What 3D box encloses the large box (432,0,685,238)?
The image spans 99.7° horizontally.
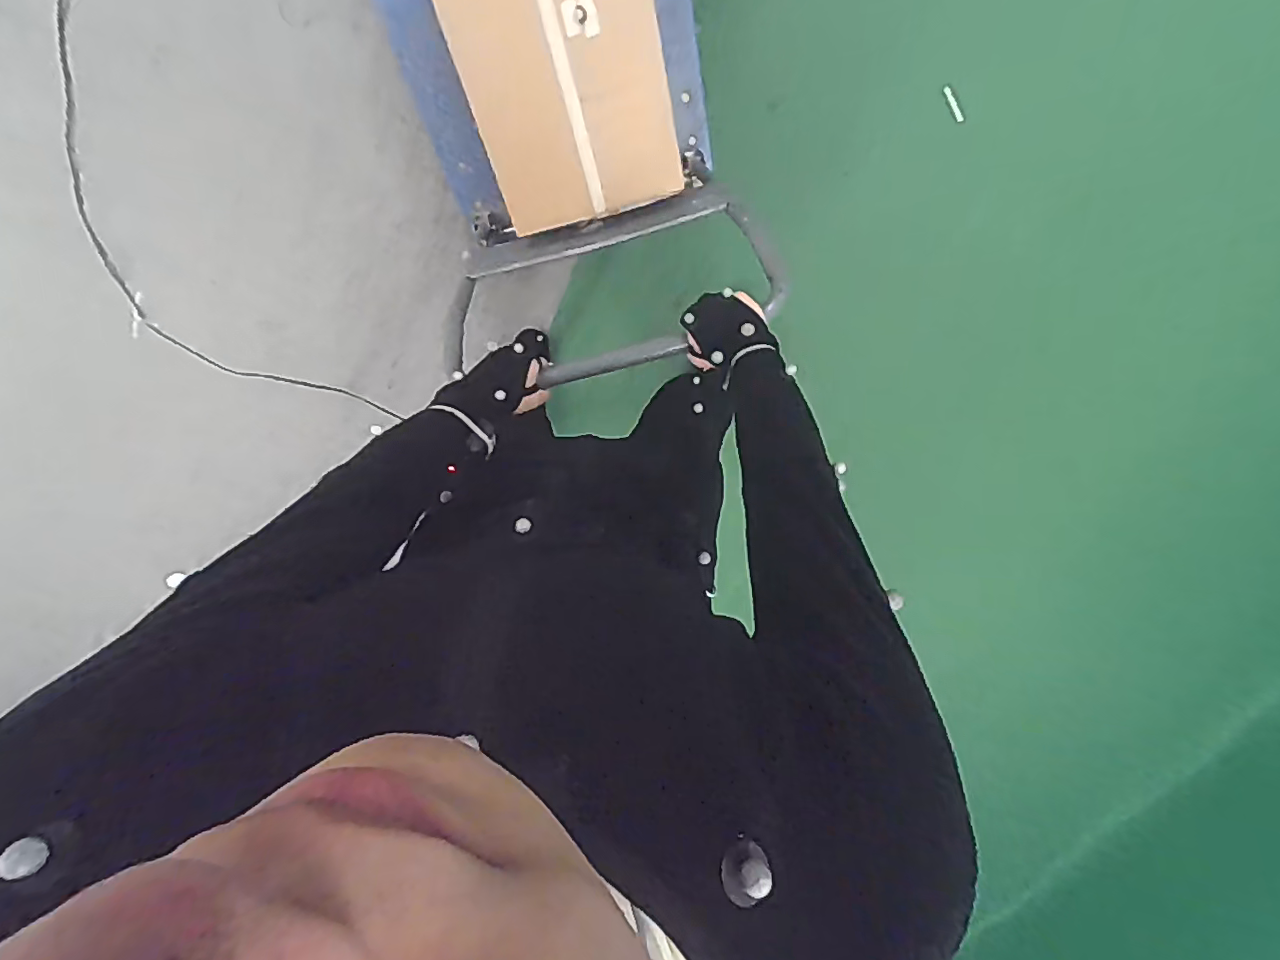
[{"bbox_3d":[-0.128,-0.712,0.967,0.320,0.320,0.408,-15,127,4],"label":"large box"}]
